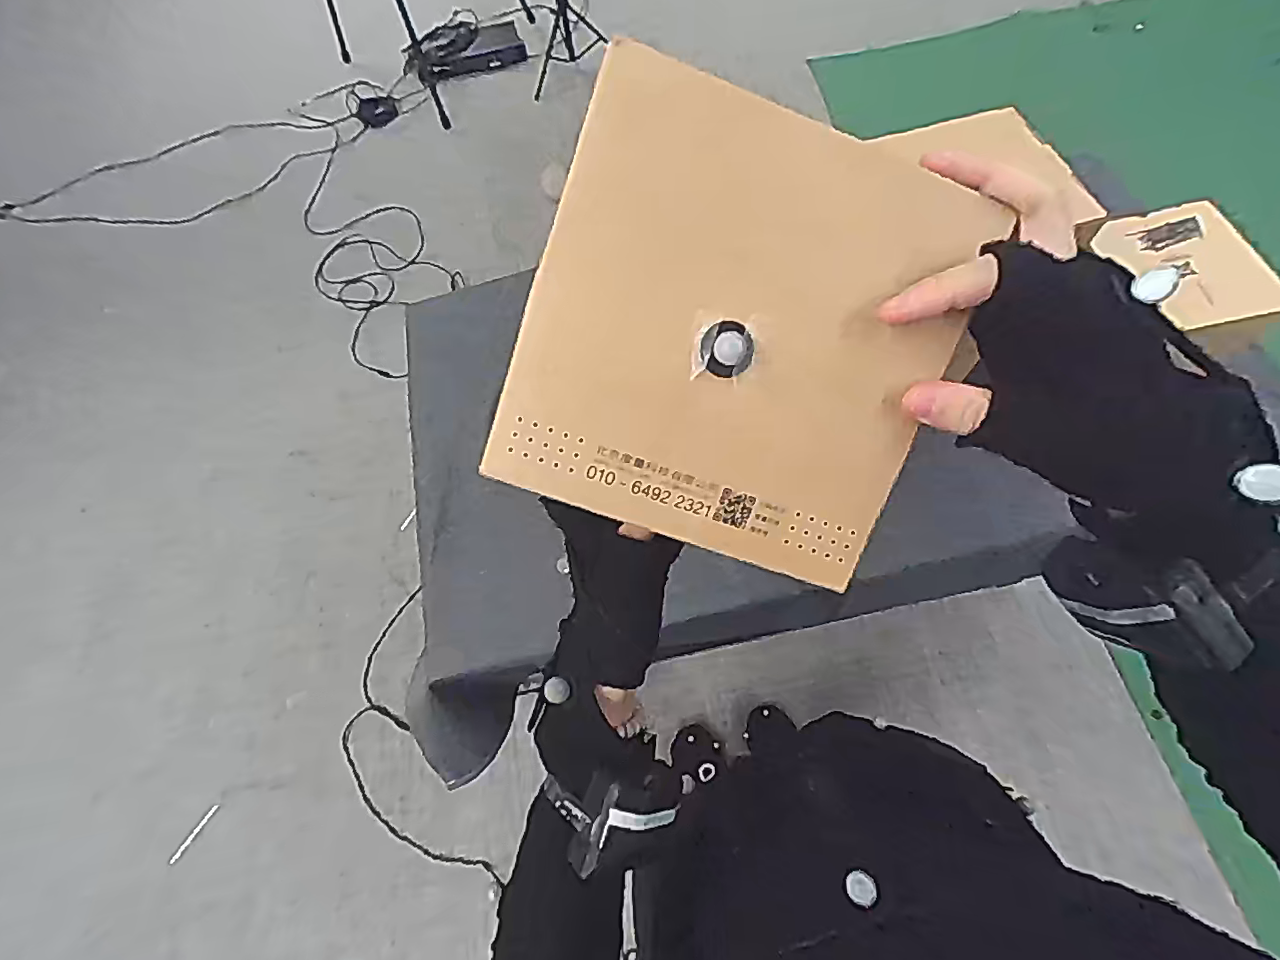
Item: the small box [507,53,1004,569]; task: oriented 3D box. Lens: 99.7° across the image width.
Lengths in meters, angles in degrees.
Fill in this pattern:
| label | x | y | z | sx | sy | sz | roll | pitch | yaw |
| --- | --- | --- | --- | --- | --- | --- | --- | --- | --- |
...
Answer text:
| label | x | y | z | sx | sy | sz | roll | pitch | yaw |
| --- | --- | --- | --- | --- | --- | --- | --- | --- | --- |
| small box | 0.038 | -0.070 | 0.297 | 0.168 | 0.179 | 0.176 | 19 | 100 | -5 |
